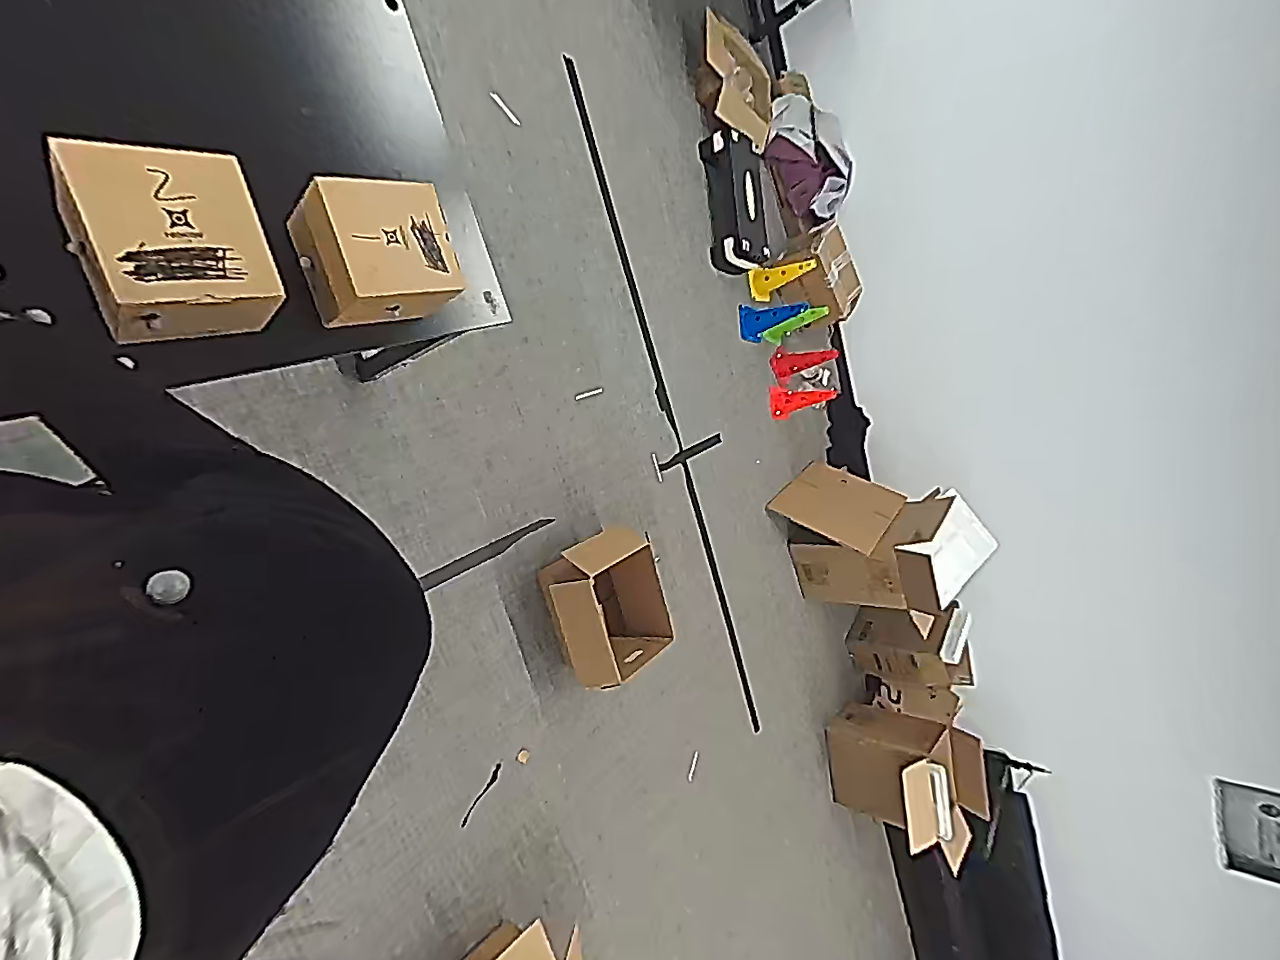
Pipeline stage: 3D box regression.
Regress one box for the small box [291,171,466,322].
[{"bbox_3d":[-0.410,-0.357,0.848,0.179,0.176,0.168,-26,104,-42],"label":"small box"}]
